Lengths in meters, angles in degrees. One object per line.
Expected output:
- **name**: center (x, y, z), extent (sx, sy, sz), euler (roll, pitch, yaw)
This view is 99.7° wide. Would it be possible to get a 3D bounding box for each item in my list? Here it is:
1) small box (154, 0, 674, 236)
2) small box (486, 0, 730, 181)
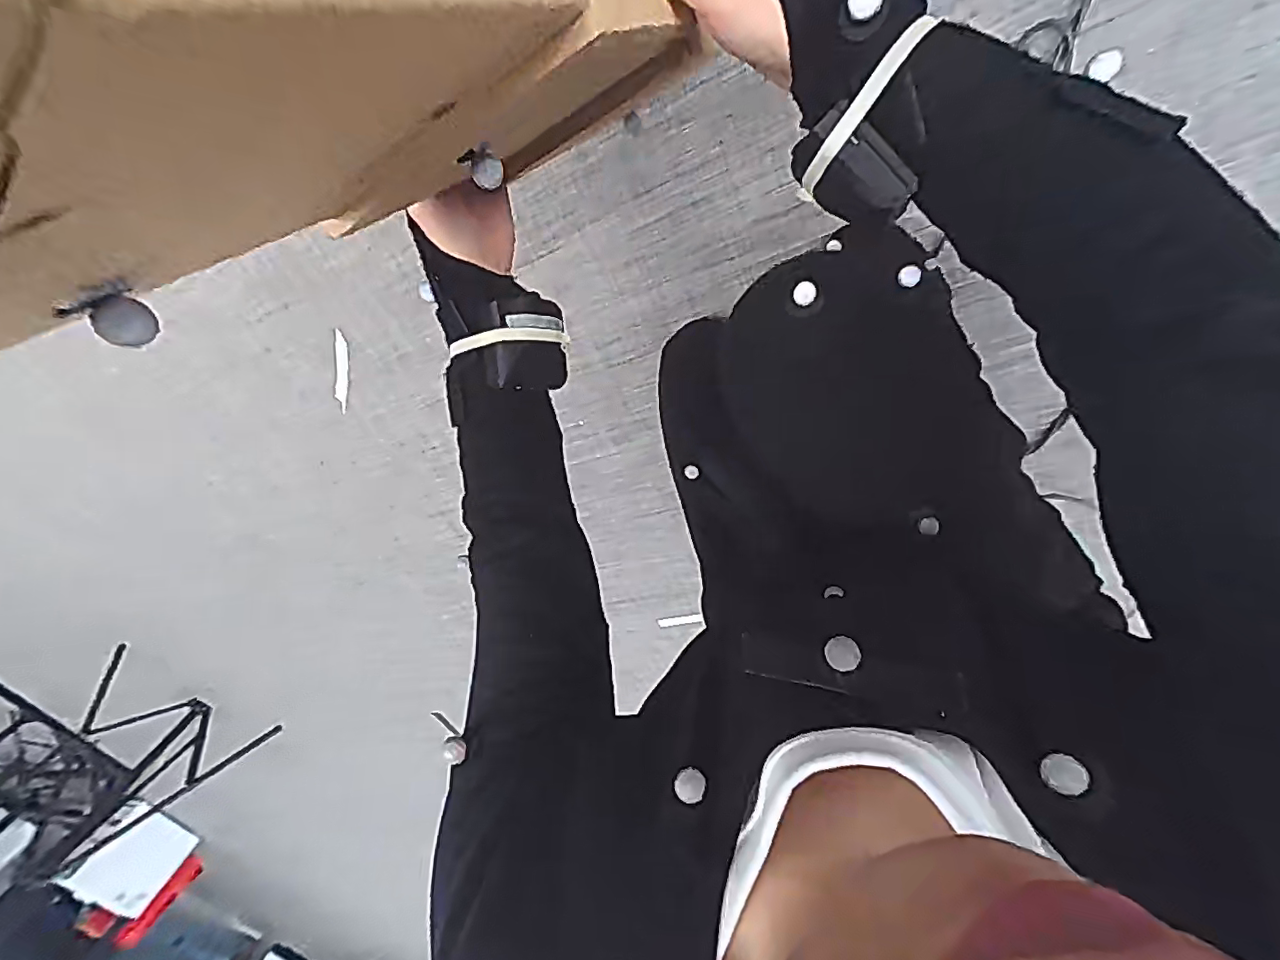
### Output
- **small box**: center (-0.097, -0.252, 0.252), extent (0.179, 0.176, 0.168), euler (-13, 124, 31)
- **small box**: center (-0.052, -0.348, 0.375), extent (0.168, 0.176, 0.179), euler (-13, 124, 30)
